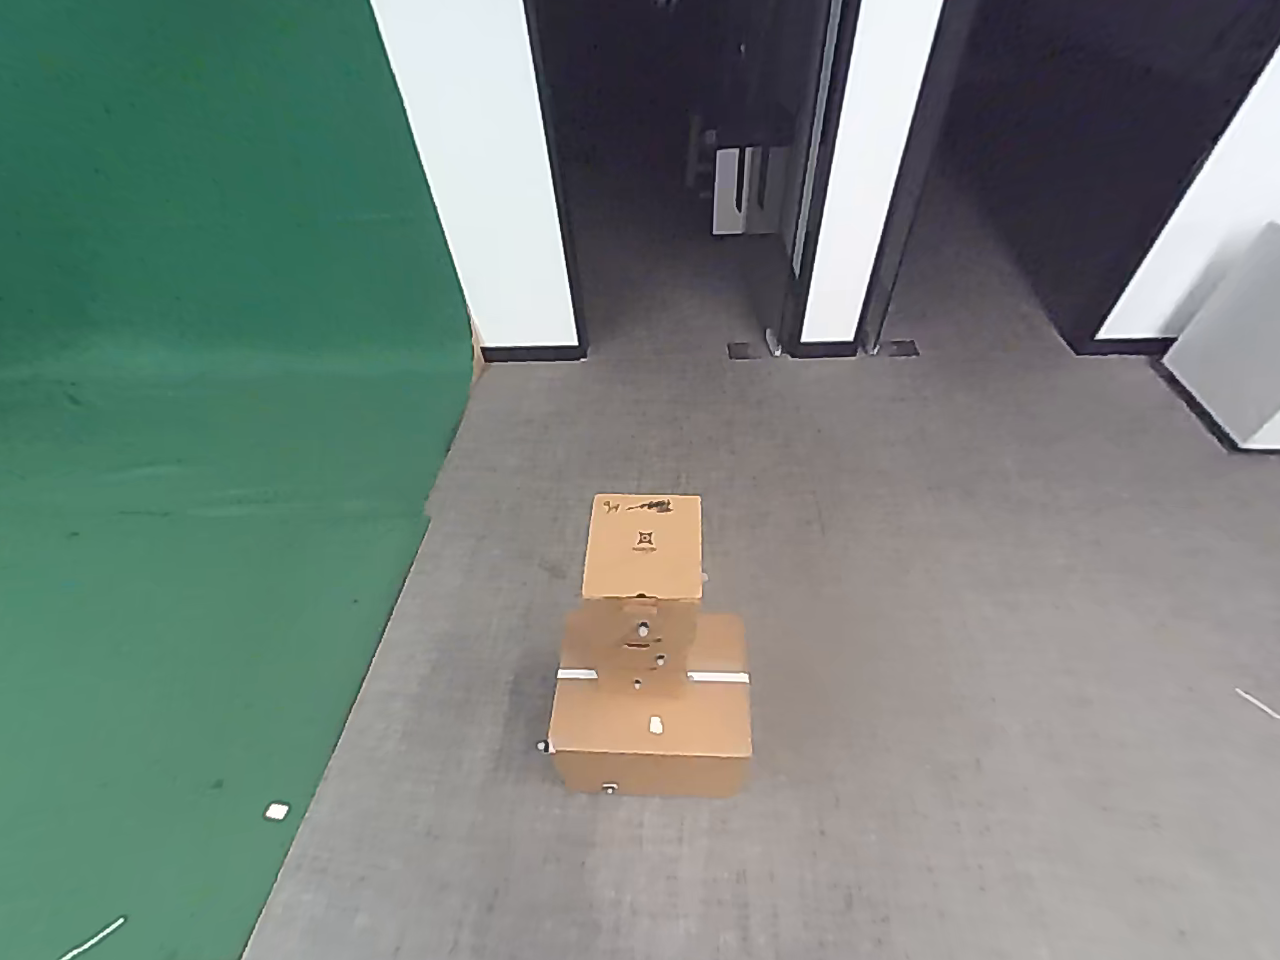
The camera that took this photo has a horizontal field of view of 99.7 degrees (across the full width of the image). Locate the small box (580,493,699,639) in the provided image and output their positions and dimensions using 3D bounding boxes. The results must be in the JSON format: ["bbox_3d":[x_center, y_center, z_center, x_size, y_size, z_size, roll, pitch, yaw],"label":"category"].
[{"bbox_3d":[0.008,0.139,0.851,0.168,0.176,0.179,1,54,5],"label":"small box"}]

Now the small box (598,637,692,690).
[{"bbox_3d":[0.015,0.327,1.116,0.179,0.176,0.168,-1,54,4],"label":"small box"}]
